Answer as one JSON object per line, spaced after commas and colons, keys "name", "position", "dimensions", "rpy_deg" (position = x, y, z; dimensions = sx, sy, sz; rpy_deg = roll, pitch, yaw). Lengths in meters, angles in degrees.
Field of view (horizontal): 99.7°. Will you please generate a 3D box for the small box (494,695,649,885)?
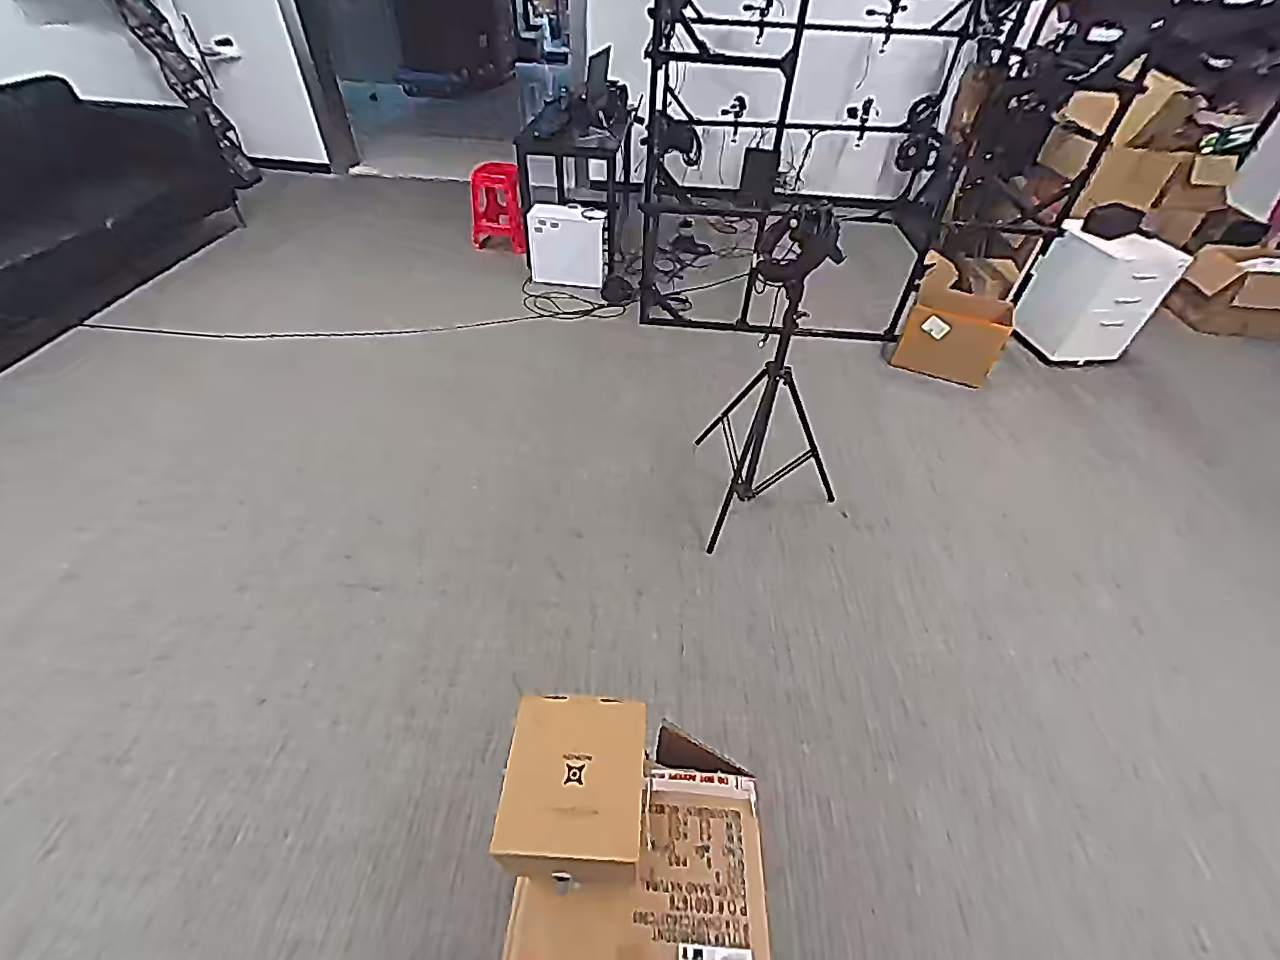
{"name": "small box", "position": [-0.076, 0.401, 0.701], "dimensions": [0.168, 0.176, 0.179], "rpy_deg": [2, 47, 2]}
